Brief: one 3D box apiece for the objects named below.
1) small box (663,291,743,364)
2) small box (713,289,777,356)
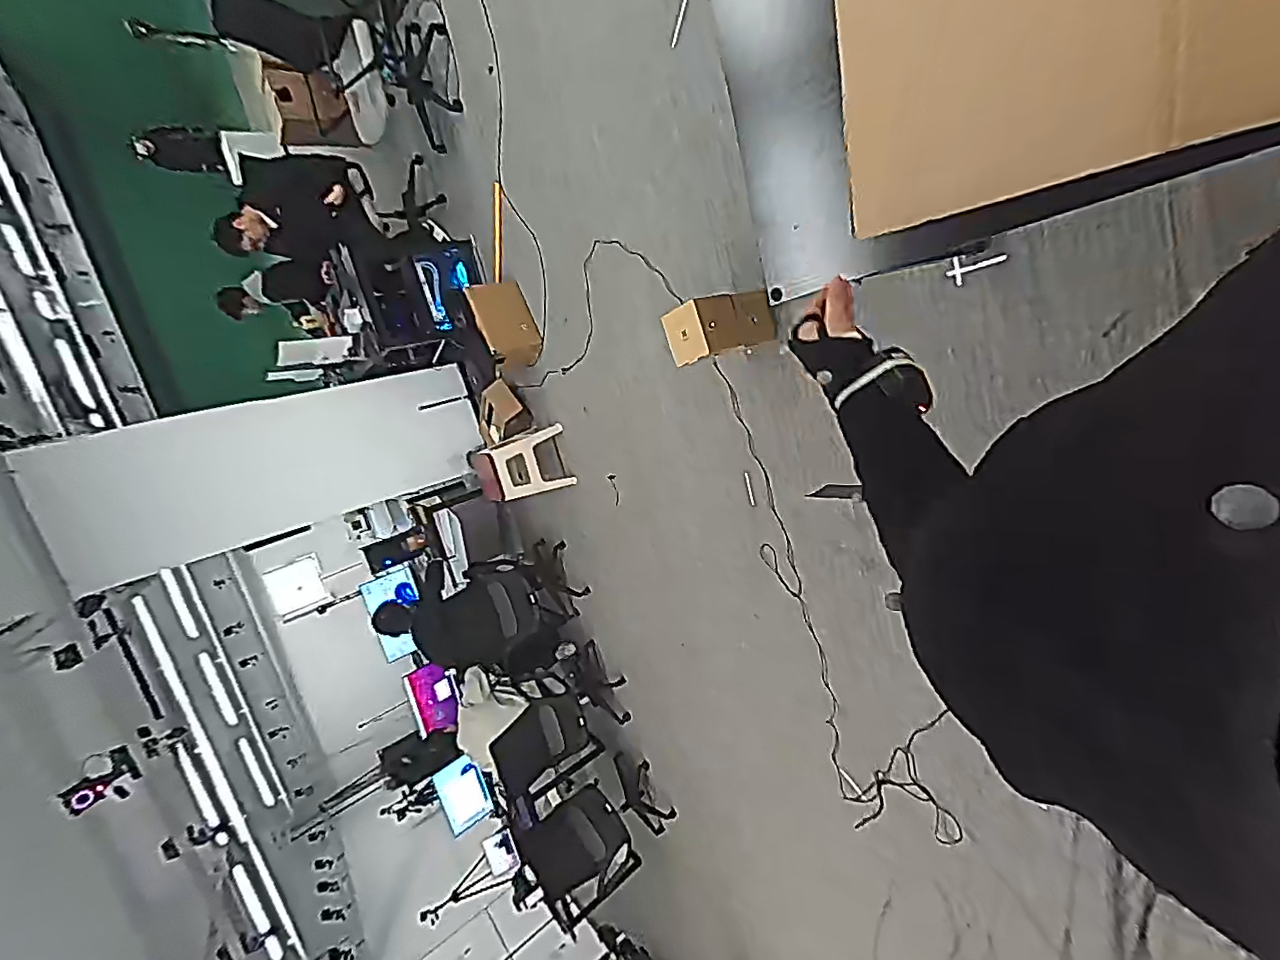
[{"bbox_3d":[0.209,-0.494,1.751,0.168,0.176,0.179,-10,99,55],"label":"small box"},{"bbox_3d":[0.337,-0.539,1.842,0.168,0.176,0.179,-6,104,56],"label":"small box"}]
